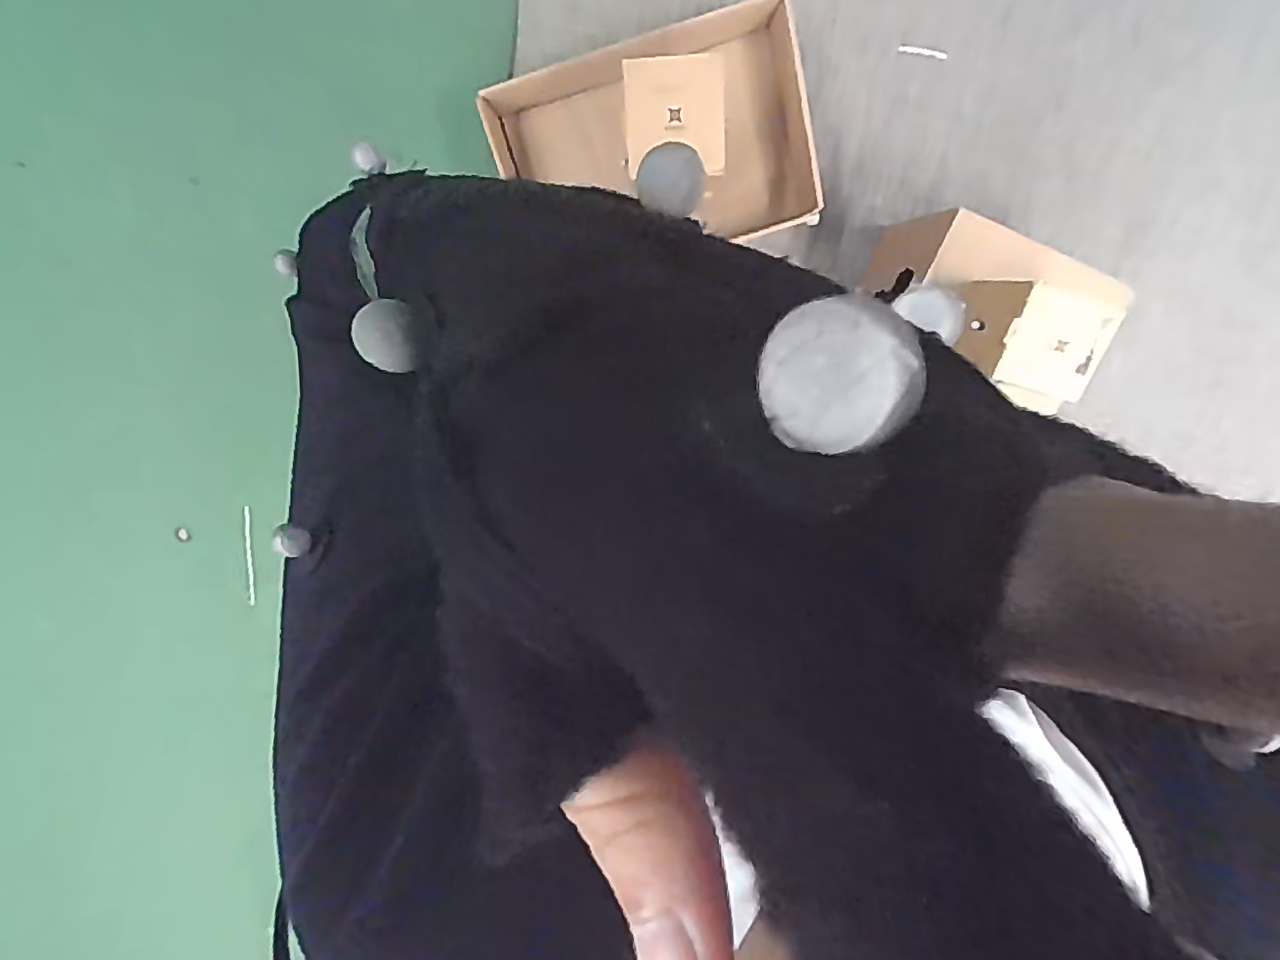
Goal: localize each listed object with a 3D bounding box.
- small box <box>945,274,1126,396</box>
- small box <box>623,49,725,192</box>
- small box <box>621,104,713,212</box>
[{"bbox_3d":[0.709,-0.270,0.997,0.179,0.176,0.168,14,110,-5],"label":"small box"},{"bbox_3d":[0.060,-0.628,0.967,0.168,0.176,0.179,-4,107,1],"label":"small box"},{"bbox_3d":[0.058,-0.668,1.124,0.168,0.176,0.179,-7,108,3],"label":"small box"}]
